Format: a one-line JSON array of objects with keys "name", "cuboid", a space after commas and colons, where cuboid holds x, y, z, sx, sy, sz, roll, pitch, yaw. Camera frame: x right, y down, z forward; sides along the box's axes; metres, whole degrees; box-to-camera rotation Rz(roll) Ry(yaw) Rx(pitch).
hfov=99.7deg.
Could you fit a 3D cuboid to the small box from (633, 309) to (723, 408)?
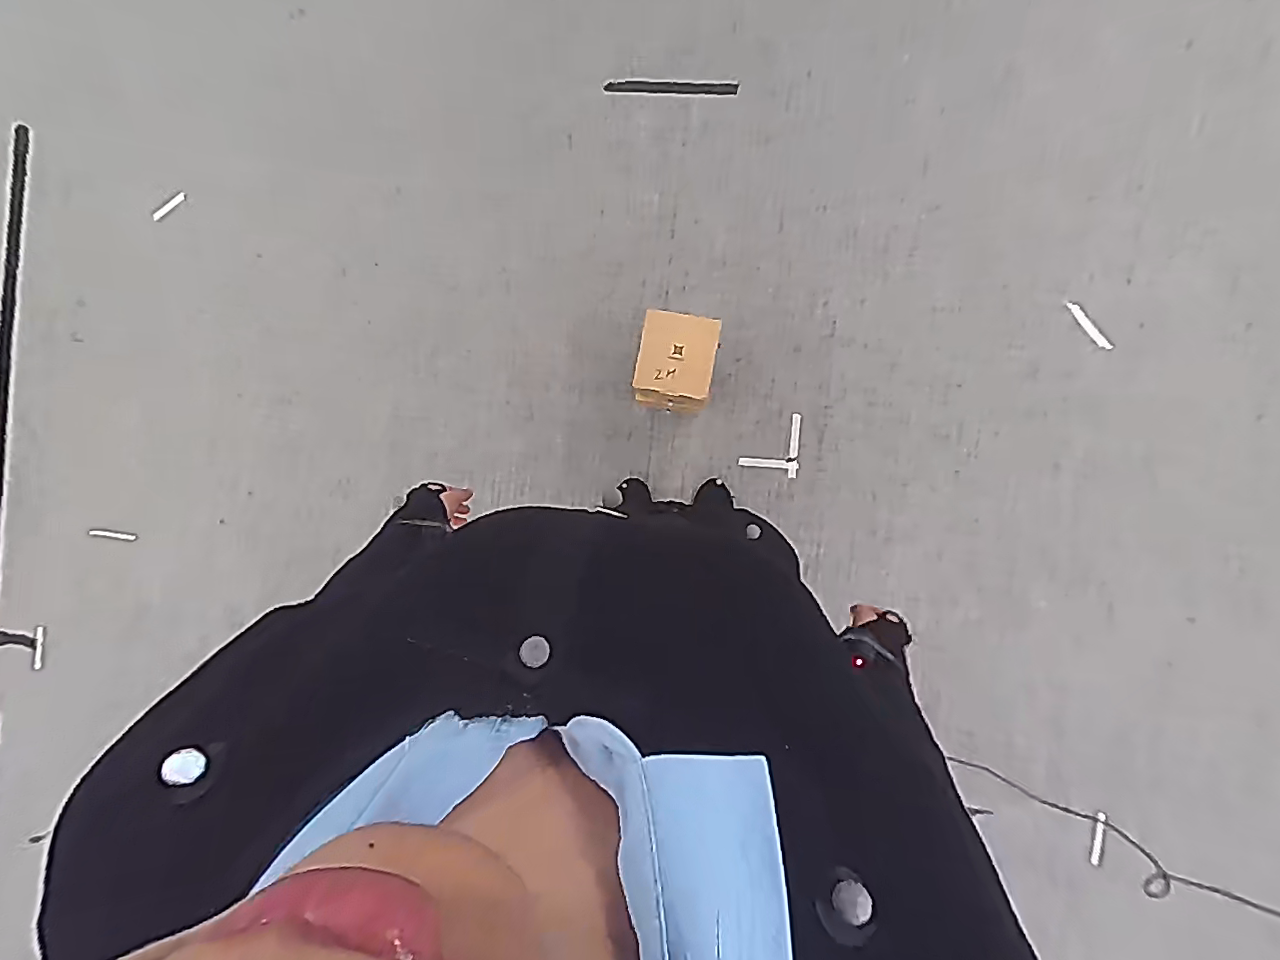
[{"name": "small box", "cuboid": [0.088, -0.271, 1.238, 0.168, 0.176, 0.179, 12, 93, 6]}]
